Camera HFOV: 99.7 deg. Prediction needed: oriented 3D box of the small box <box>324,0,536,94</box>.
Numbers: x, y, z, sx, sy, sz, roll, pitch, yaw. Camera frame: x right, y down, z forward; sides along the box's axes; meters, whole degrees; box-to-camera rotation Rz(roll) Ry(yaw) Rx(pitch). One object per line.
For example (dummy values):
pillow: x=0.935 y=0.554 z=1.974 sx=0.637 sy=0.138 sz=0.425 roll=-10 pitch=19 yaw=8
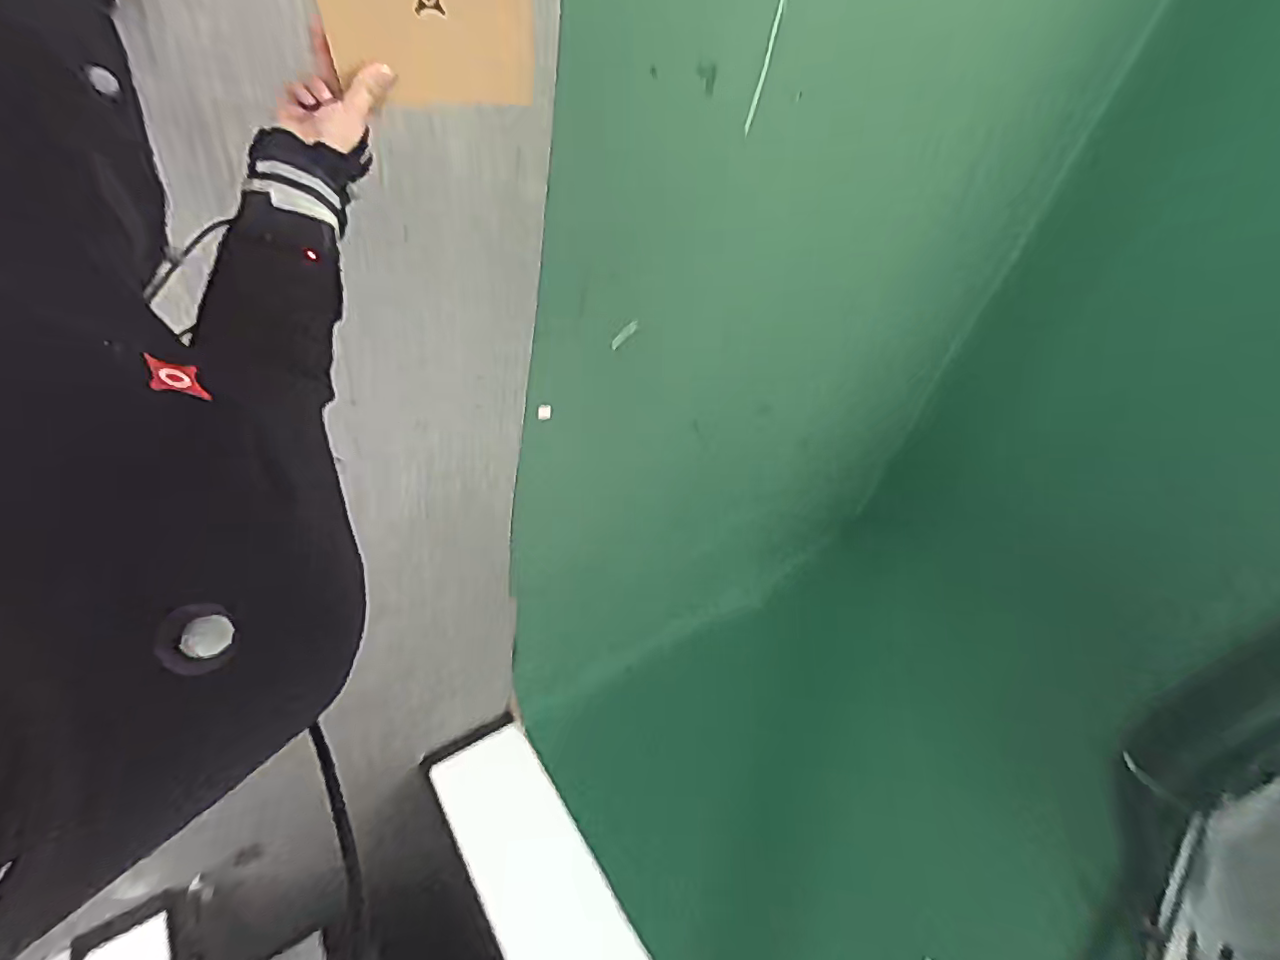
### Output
small box: x=-0.187 y=-0.459 z=0.442 sx=0.168 sy=0.176 sz=0.179 roll=-16 pitch=157 yaw=-18
